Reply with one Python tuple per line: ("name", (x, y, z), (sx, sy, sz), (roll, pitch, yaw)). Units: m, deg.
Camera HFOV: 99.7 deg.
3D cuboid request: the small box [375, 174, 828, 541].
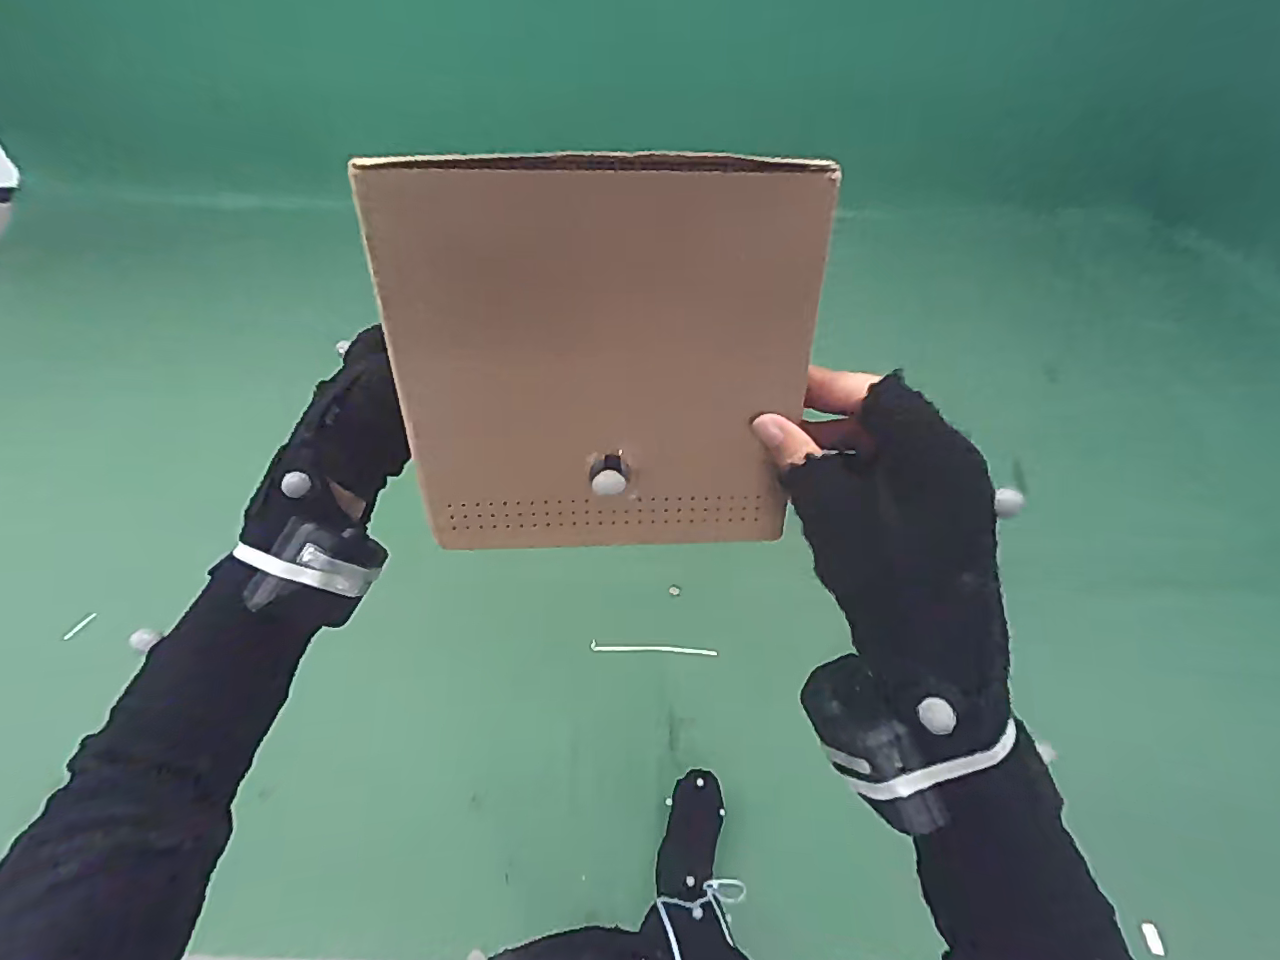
("small box", (-0.017, -0.077, 0.312), (0.179, 0.176, 0.168), (-1, 29, -3))
